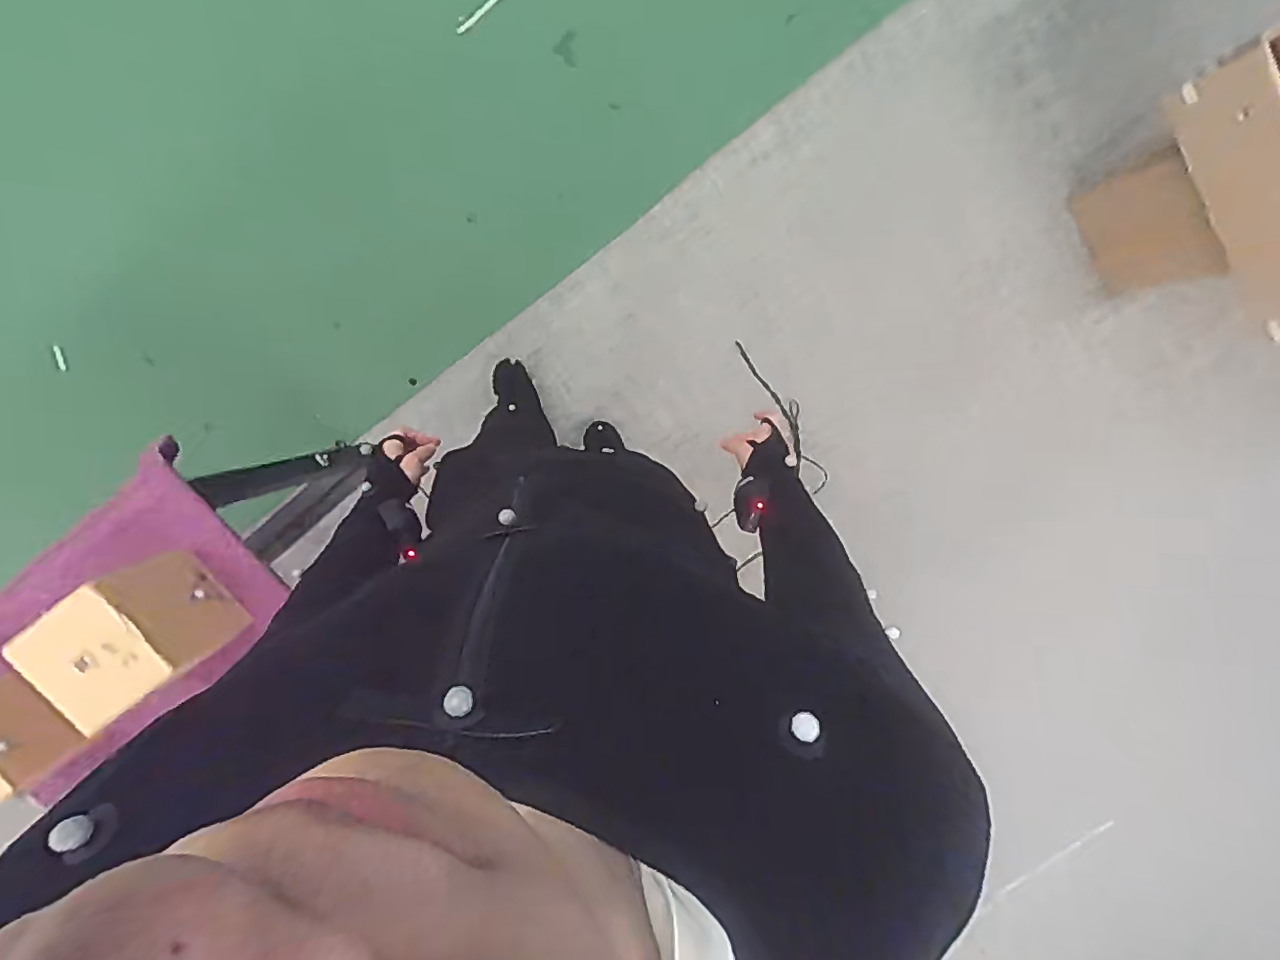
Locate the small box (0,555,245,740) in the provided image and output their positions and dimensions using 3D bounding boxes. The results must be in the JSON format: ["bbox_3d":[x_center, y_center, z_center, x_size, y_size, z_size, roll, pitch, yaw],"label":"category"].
[{"bbox_3d":[-0.767,0.244,0.825,0.179,0.176,0.168,-36,99,5],"label":"small box"}]

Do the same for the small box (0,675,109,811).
[{"bbox_3d":[-1.023,0.430,0.854,0.179,0.176,0.168,-35,99,5],"label":"small box"}]
